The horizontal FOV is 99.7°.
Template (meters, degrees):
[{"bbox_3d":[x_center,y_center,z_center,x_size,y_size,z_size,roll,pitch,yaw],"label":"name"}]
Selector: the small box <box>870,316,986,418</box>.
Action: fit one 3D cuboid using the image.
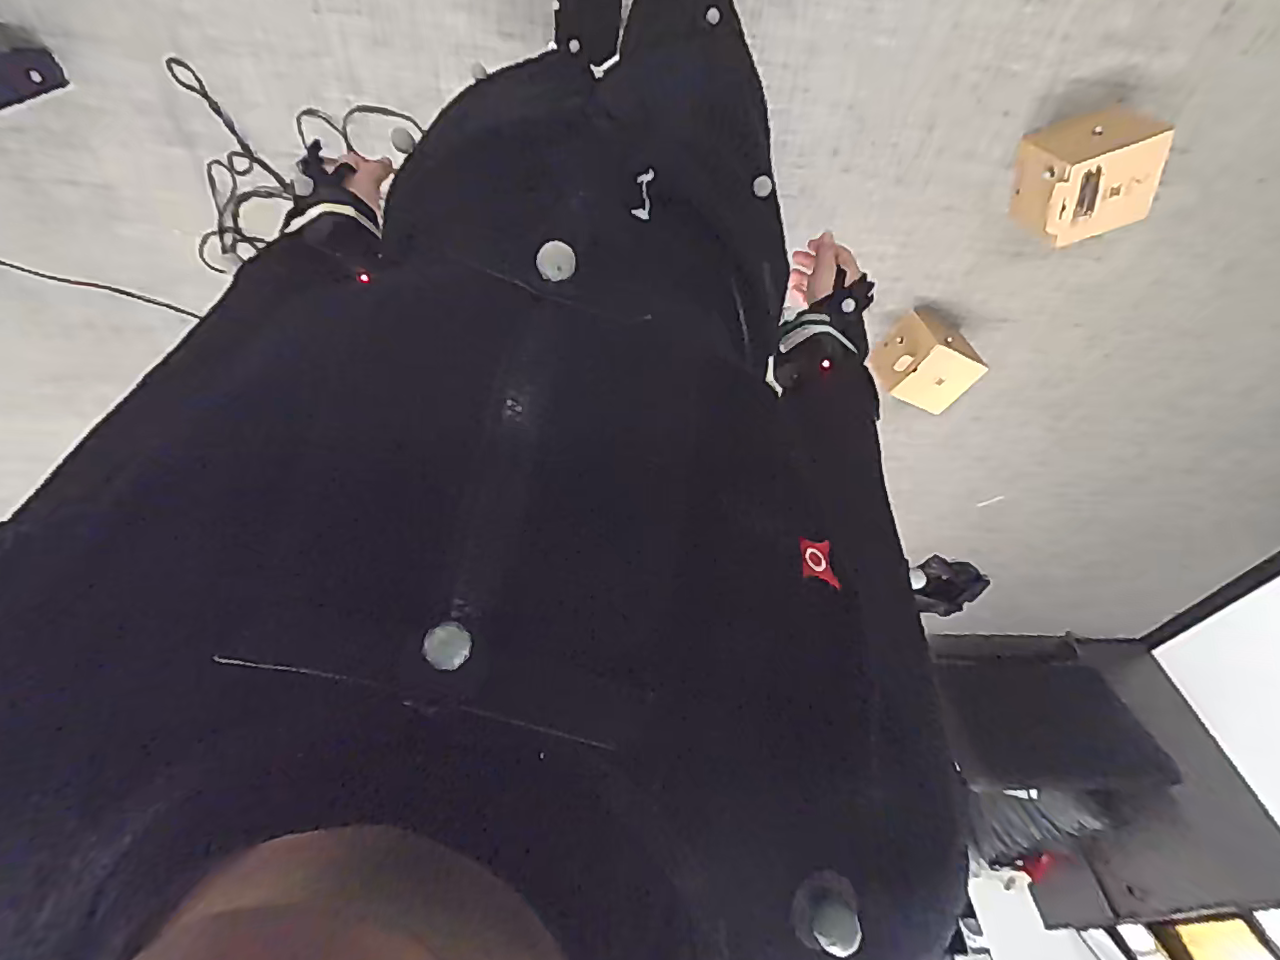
[{"bbox_3d":[0.736,-0.295,1.398,0.179,0.176,0.168,17,134,-20],"label":"small box"}]
